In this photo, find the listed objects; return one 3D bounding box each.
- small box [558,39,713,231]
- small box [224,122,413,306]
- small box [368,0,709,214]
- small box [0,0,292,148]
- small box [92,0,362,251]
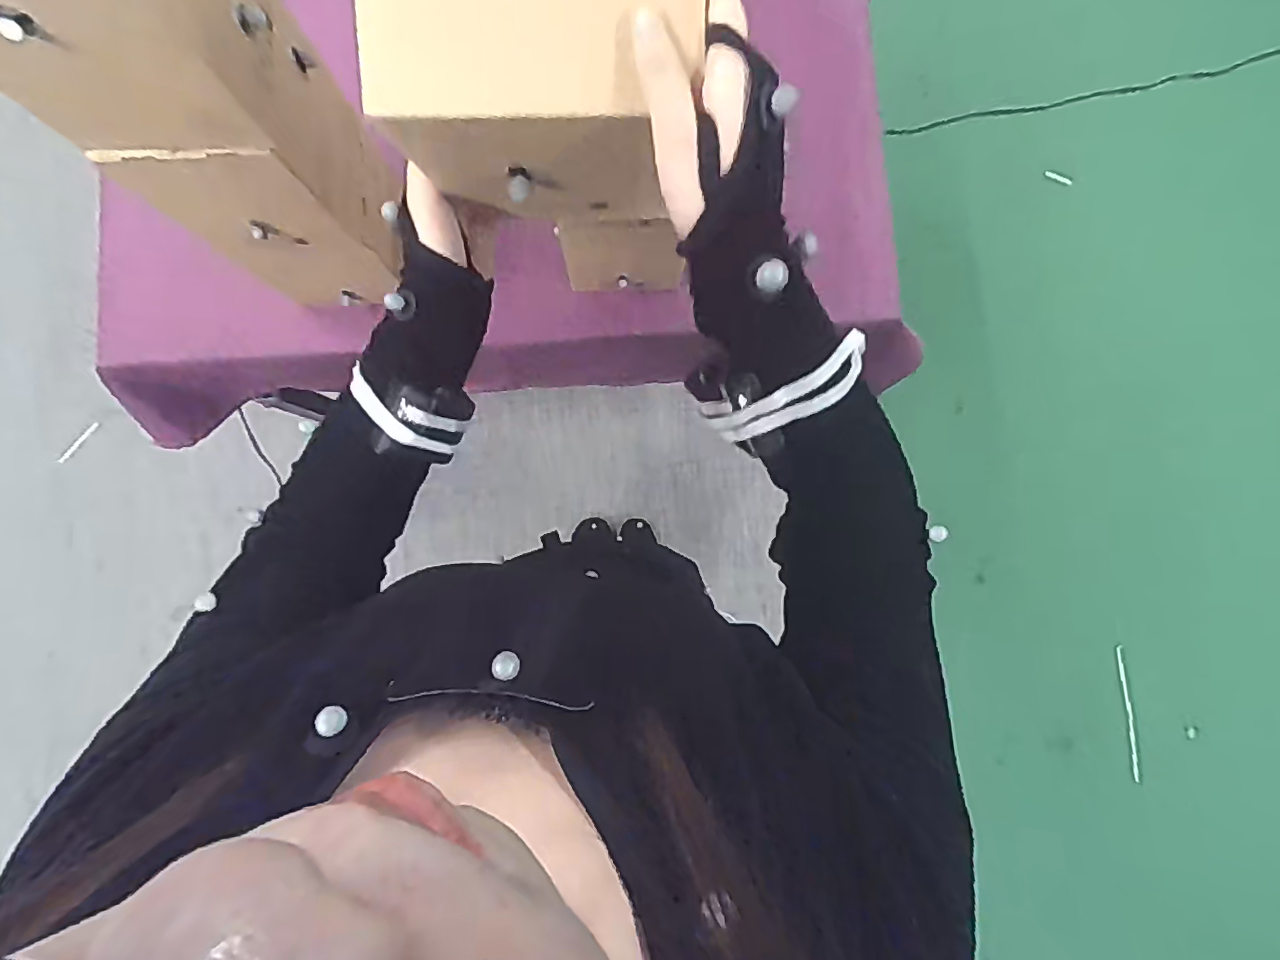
[{"bbox_3d":[-0.017,-0.393,0.594,0.168,0.176,0.179,-3,85,-3],"label":"small box"},{"bbox_3d":[-0.424,-0.352,0.741,0.179,0.176,0.168,-5,85,-3],"label":"small box"},{"bbox_3d":[-0.048,-0.277,0.331,0.168,0.176,0.179,-1,98,-1],"label":"small box"},{"bbox_3d":[-0.407,-0.386,0.413,0.179,0.176,0.168,-2,85,-3],"label":"small box"},{"bbox_3d":[-0.418,-0.371,0.577,0.168,0.176,0.179,-3,86,-2],"label":"small box"}]
